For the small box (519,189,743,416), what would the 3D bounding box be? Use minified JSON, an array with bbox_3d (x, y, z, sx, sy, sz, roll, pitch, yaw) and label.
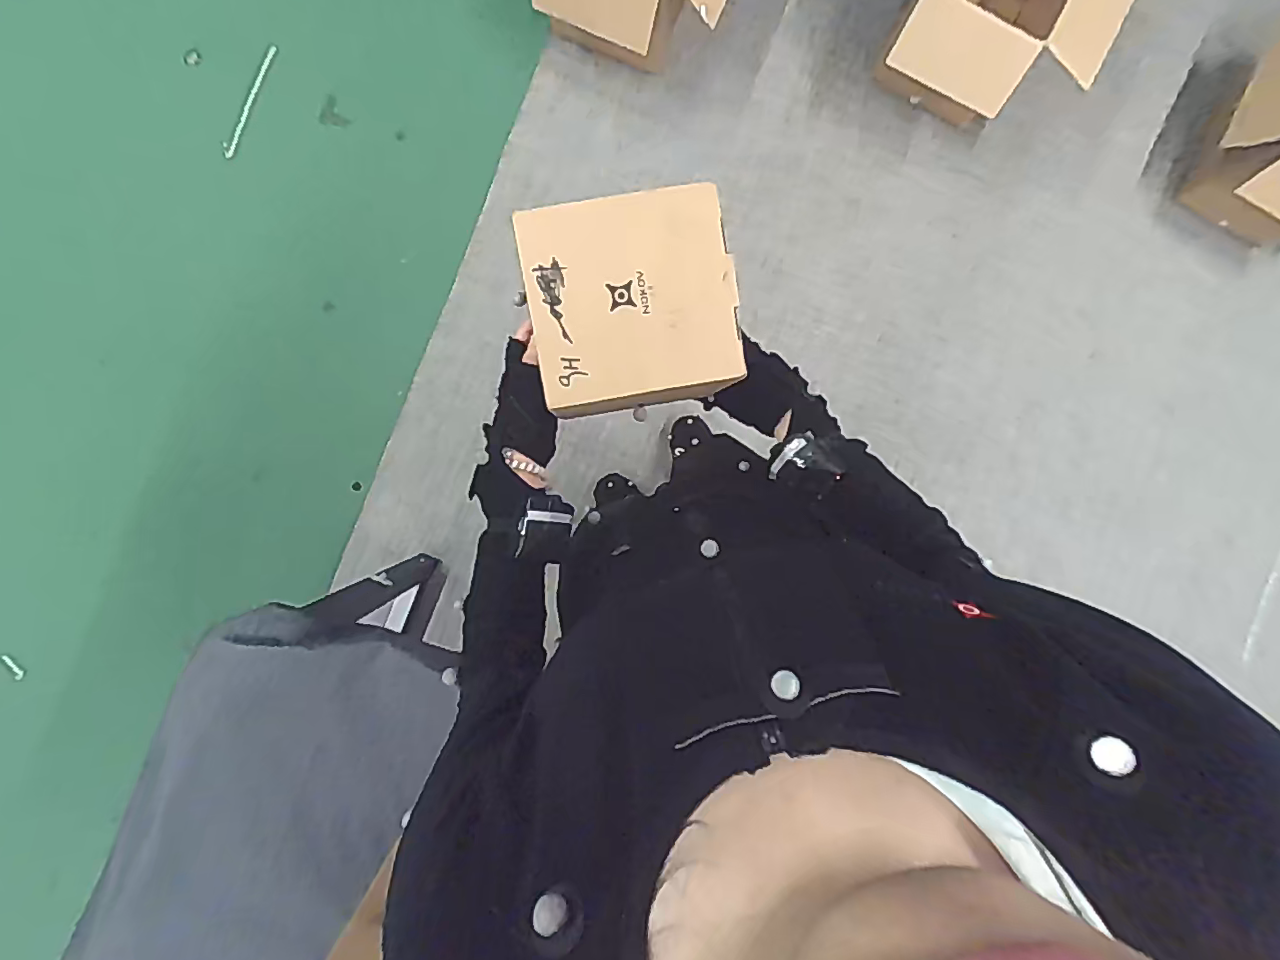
[{"bbox_3d":[-0.013,-0.161,0.539,0.179,0.176,0.168,-9,93,-4],"label":"small box"}]
